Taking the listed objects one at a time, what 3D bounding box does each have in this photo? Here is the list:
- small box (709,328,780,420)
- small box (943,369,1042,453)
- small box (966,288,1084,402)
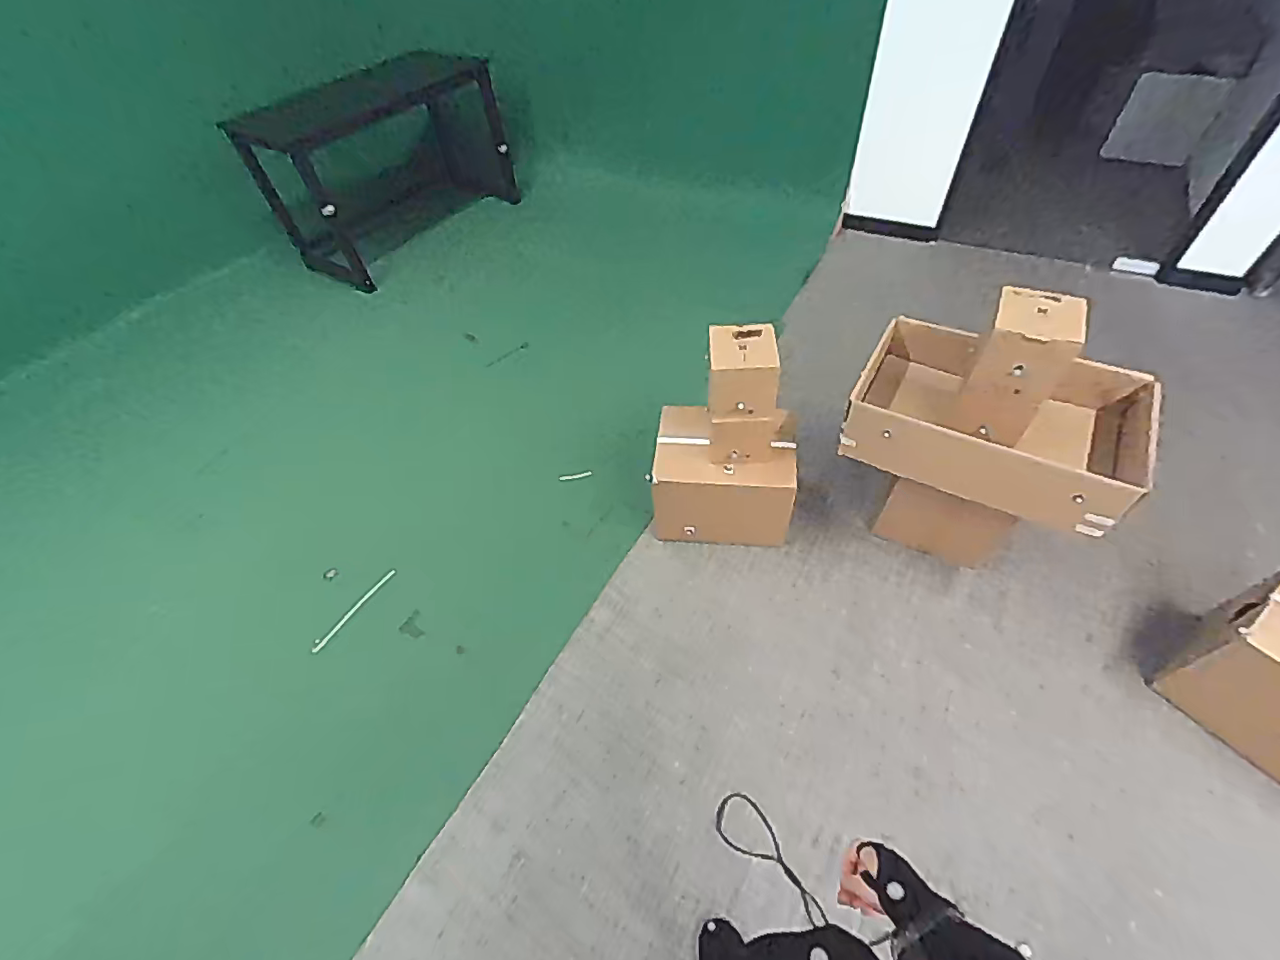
[{"bbox_3d":[0.264,-0.275,1.409,0.168,0.176,0.179,-1,50,6],"label":"small box"},{"bbox_3d":[0.886,-0.200,1.357,0.168,0.176,0.179,22,57,23],"label":"small box"},{"bbox_3d":[0.868,-0.304,1.231,0.168,0.176,0.179,20,57,21],"label":"small box"}]
